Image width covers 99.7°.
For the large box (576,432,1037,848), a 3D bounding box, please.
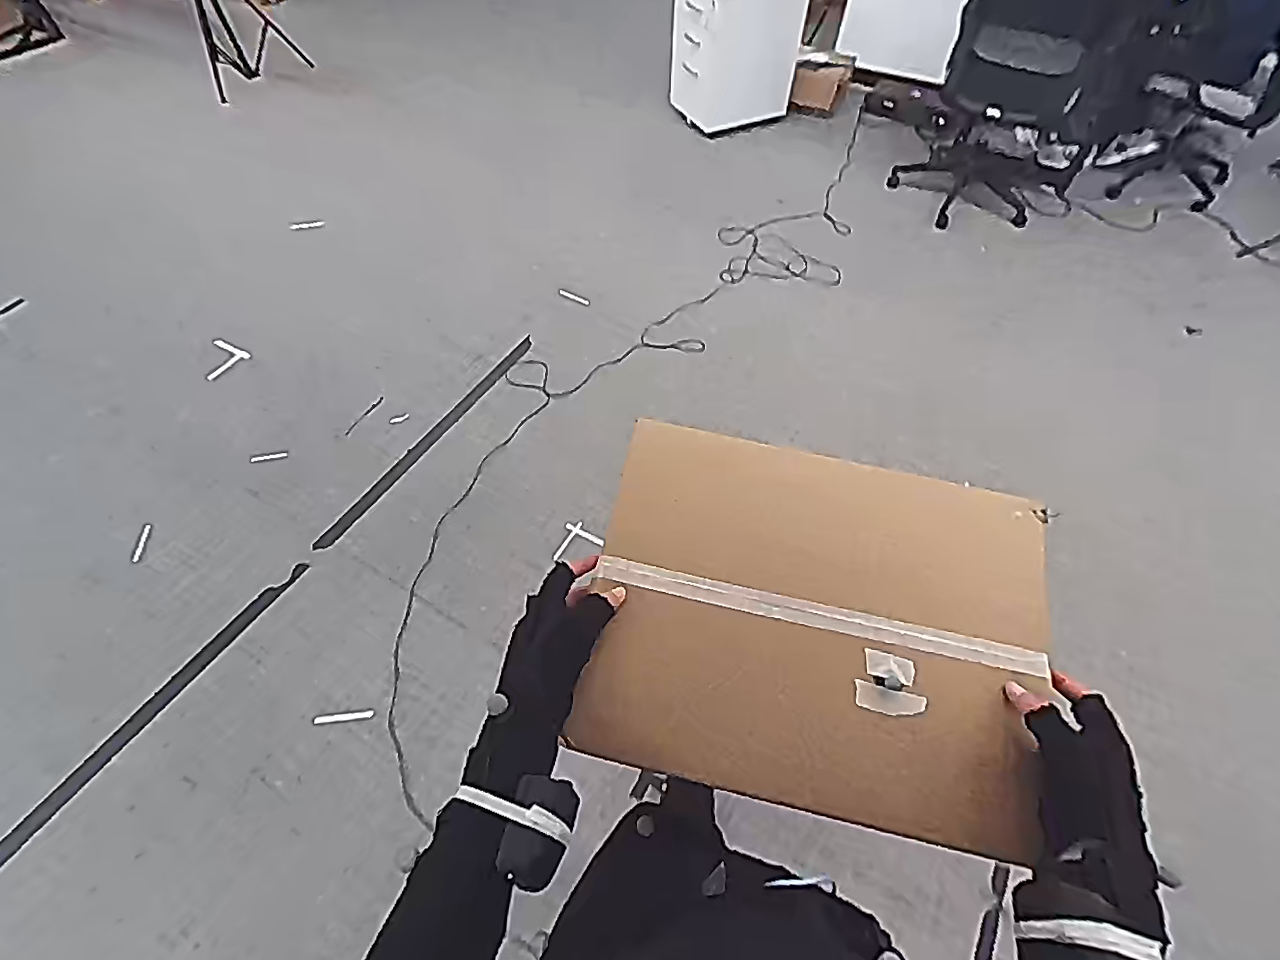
[{"bbox_3d":[0.165,0.176,0.648,0.408,0.320,0.320,13,72,4],"label":"large box"}]
